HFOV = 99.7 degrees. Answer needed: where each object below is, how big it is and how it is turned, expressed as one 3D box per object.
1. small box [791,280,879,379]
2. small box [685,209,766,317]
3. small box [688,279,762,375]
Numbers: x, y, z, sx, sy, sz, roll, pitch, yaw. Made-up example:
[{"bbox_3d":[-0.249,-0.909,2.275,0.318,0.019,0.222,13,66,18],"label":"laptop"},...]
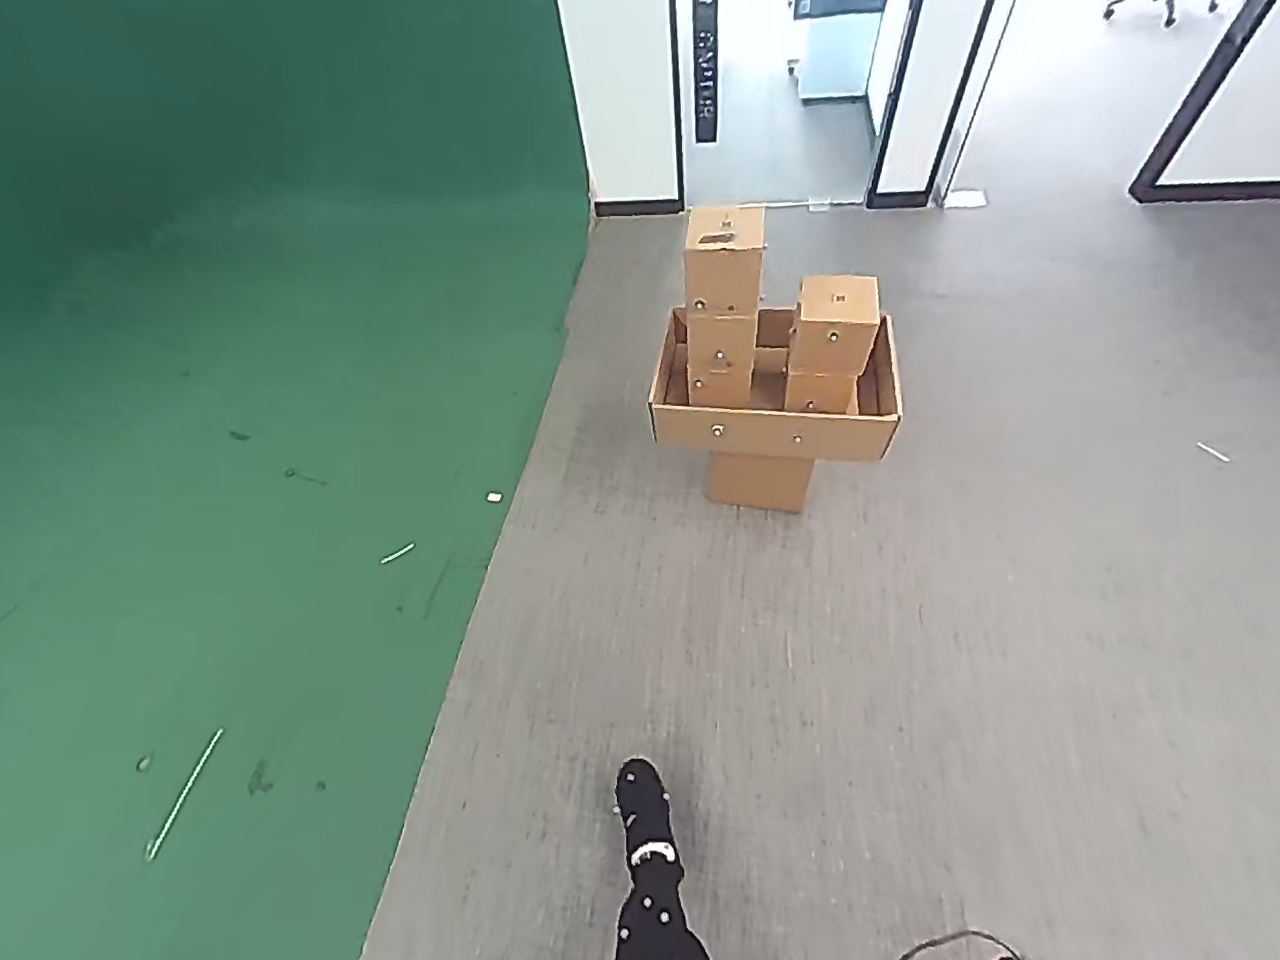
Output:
[{"bbox_3d":[0.469,-0.364,1.318,0.179,0.176,0.168,7,57,10],"label":"small box"},{"bbox_3d":[0.195,-0.491,1.233,0.168,0.176,0.179,4,54,9],"label":"small box"},{"bbox_3d":[0.212,-0.390,1.362,0.168,0.176,0.179,5,55,10],"label":"small box"}]
